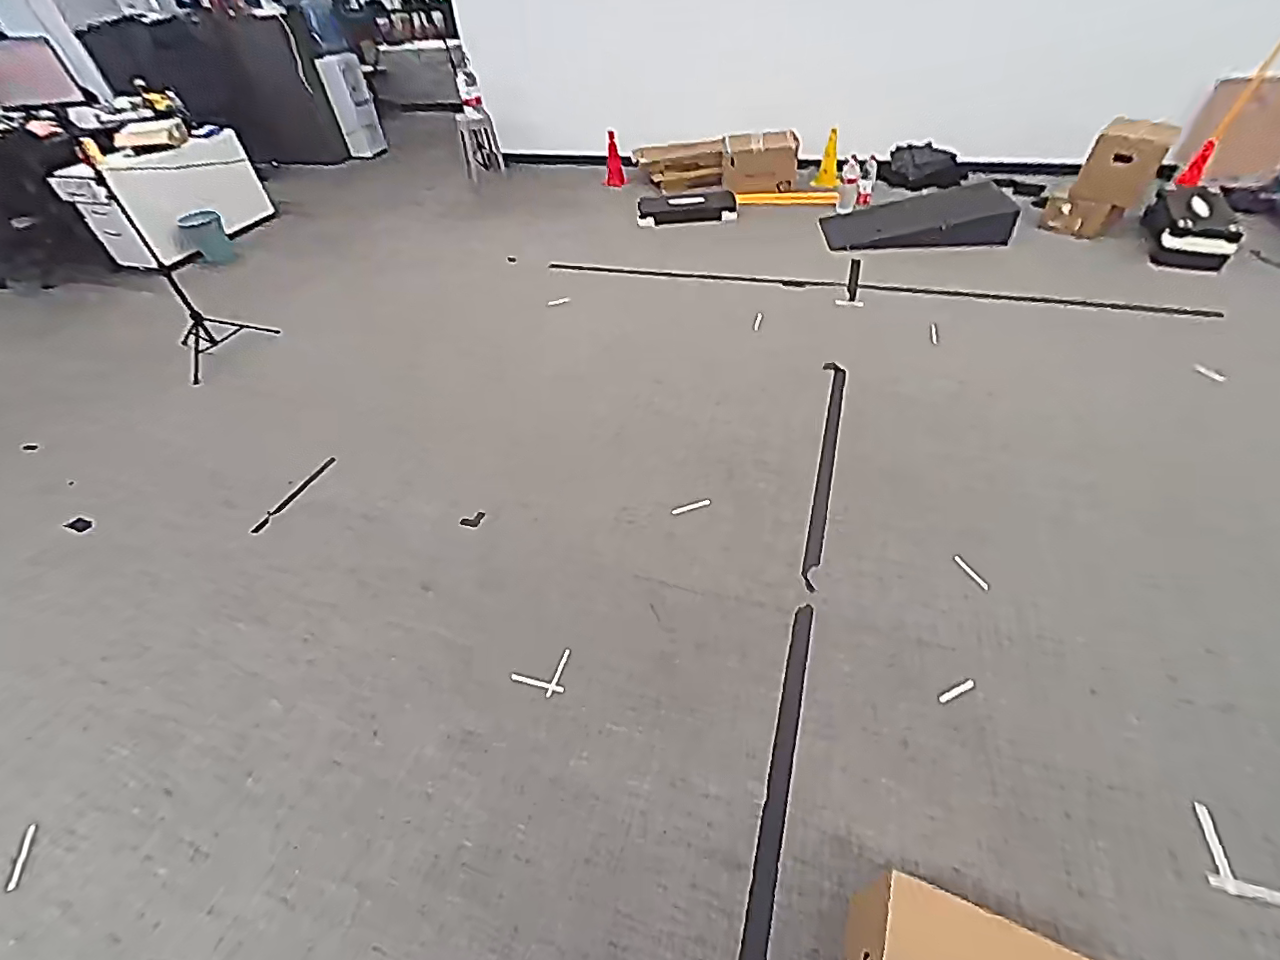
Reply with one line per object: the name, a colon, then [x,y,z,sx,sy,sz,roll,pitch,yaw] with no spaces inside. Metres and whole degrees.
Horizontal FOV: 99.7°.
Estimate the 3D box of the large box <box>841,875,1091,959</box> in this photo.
large box: [0.533,0.889,0.821,0.408,0.320,0.320,16,49,18]
